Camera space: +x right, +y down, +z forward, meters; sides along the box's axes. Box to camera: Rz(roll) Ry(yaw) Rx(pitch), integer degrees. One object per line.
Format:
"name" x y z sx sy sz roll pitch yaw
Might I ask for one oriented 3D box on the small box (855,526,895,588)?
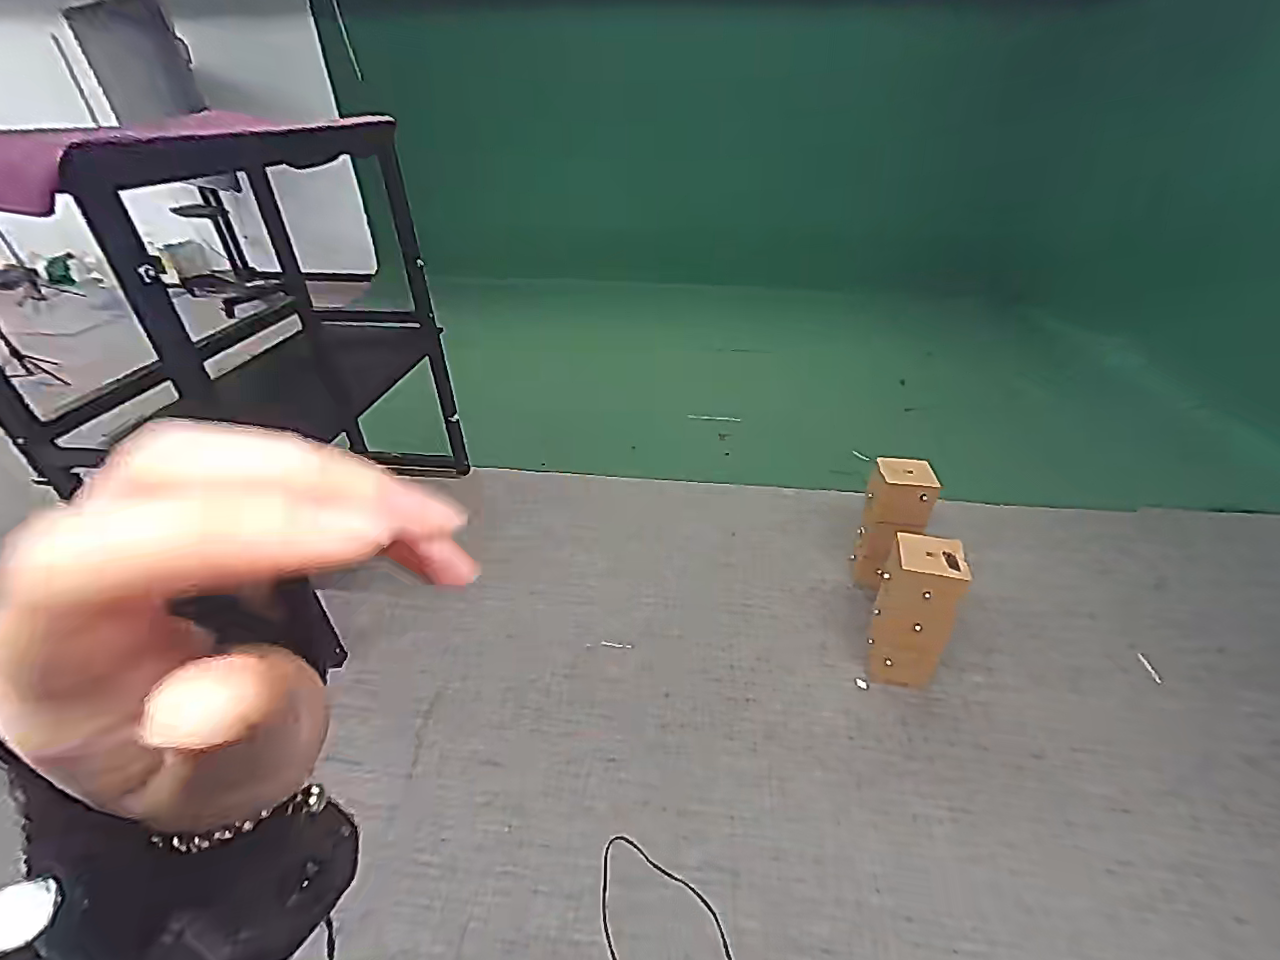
"small box" 0.933 0.298 2.070 0.179 0.176 0.168 5 36 10

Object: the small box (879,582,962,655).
"small box" 0.842 0.405 1.641 0.179 0.176 0.168 8 36 13

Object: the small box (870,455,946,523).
"small box" 0.923 0.033 1.878 0.179 0.176 0.168 4 34 7

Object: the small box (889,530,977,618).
"small box" 0.830 0.270 1.547 0.179 0.176 0.168 8 36 15

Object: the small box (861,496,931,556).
"small box" 0.929 0.167 1.974 0.179 0.176 0.168 3 34 8
